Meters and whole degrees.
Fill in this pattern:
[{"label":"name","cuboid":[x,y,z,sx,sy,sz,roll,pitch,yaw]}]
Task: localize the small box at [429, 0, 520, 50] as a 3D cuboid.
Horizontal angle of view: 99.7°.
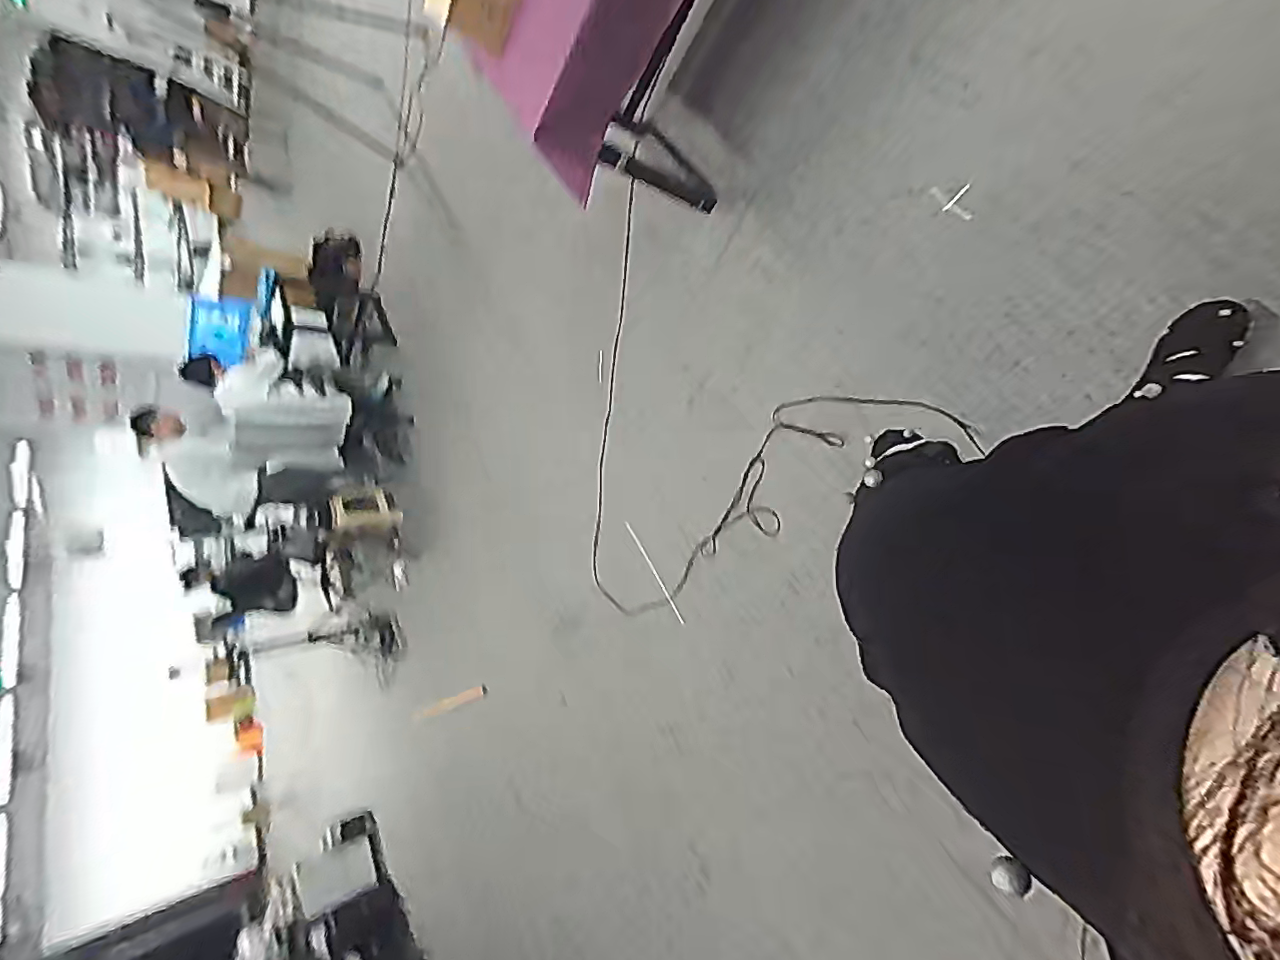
[{"label":"small box","cuboid":[-0.445,-1.320,1.470,0.168,0.176,0.179,-54,57,32]}]
